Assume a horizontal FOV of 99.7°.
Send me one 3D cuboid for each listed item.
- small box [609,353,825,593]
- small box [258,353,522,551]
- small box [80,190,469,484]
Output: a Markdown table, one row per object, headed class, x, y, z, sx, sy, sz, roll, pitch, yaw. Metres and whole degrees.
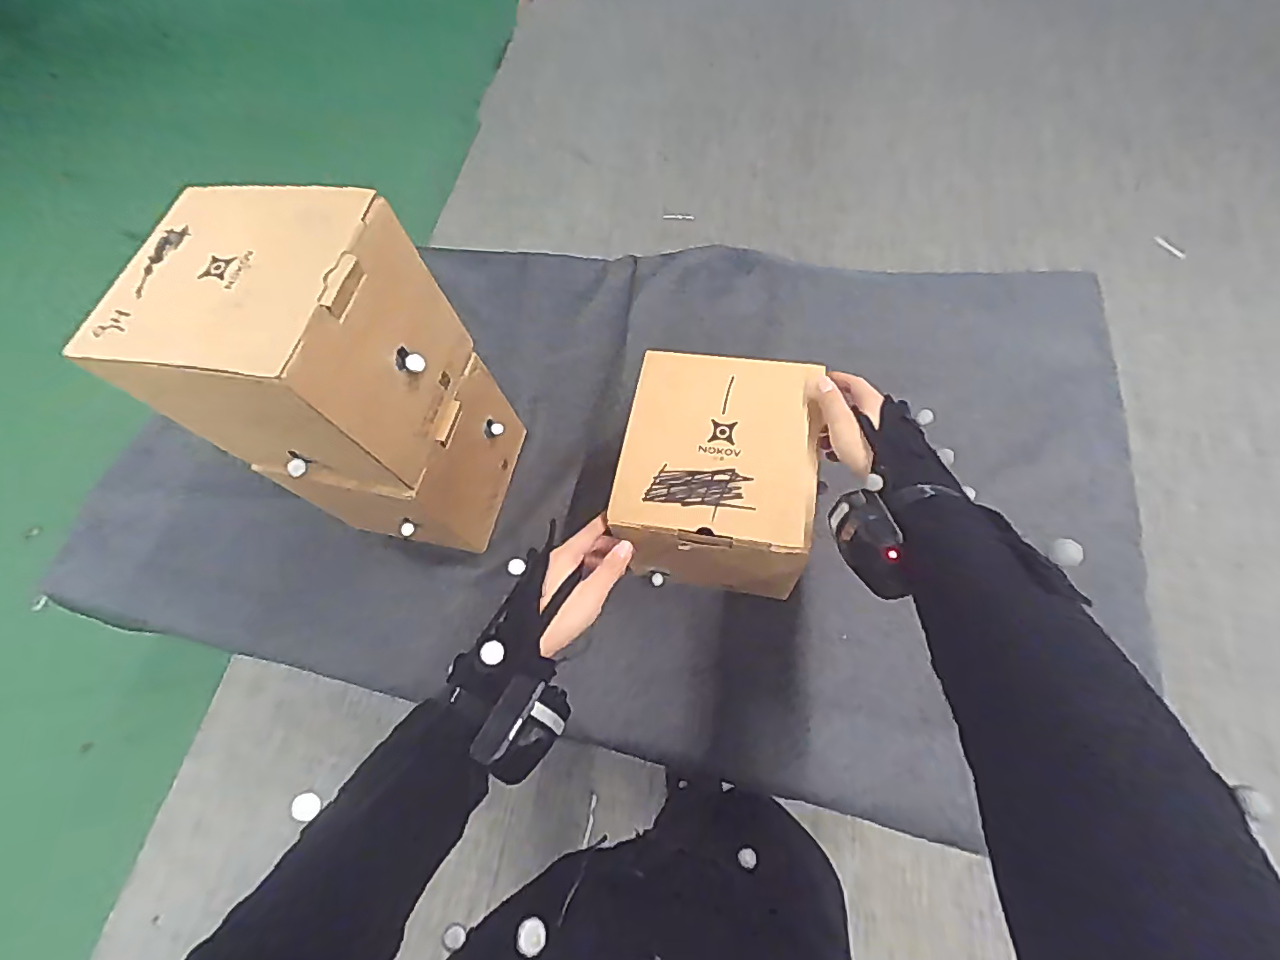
| class | x | y | z | sx | sy | sz | roll | pitch | yaw |
| --- | --- | --- | --- | --- | --- | --- | --- | --- | --- |
| small box | 0.079 | 0.001 | 0.536 | 0.168 | 0.176 | 0.179 | 8 | 66 | 11 |
| small box | -0.251 | -0.032 | 0.597 | 0.179 | 0.176 | 0.168 | 8 | 65 | 12 |
| small box | -0.270 | -0.109 | 0.453 | 0.179 | 0.176 | 0.168 | 8 | 66 | 11 |
